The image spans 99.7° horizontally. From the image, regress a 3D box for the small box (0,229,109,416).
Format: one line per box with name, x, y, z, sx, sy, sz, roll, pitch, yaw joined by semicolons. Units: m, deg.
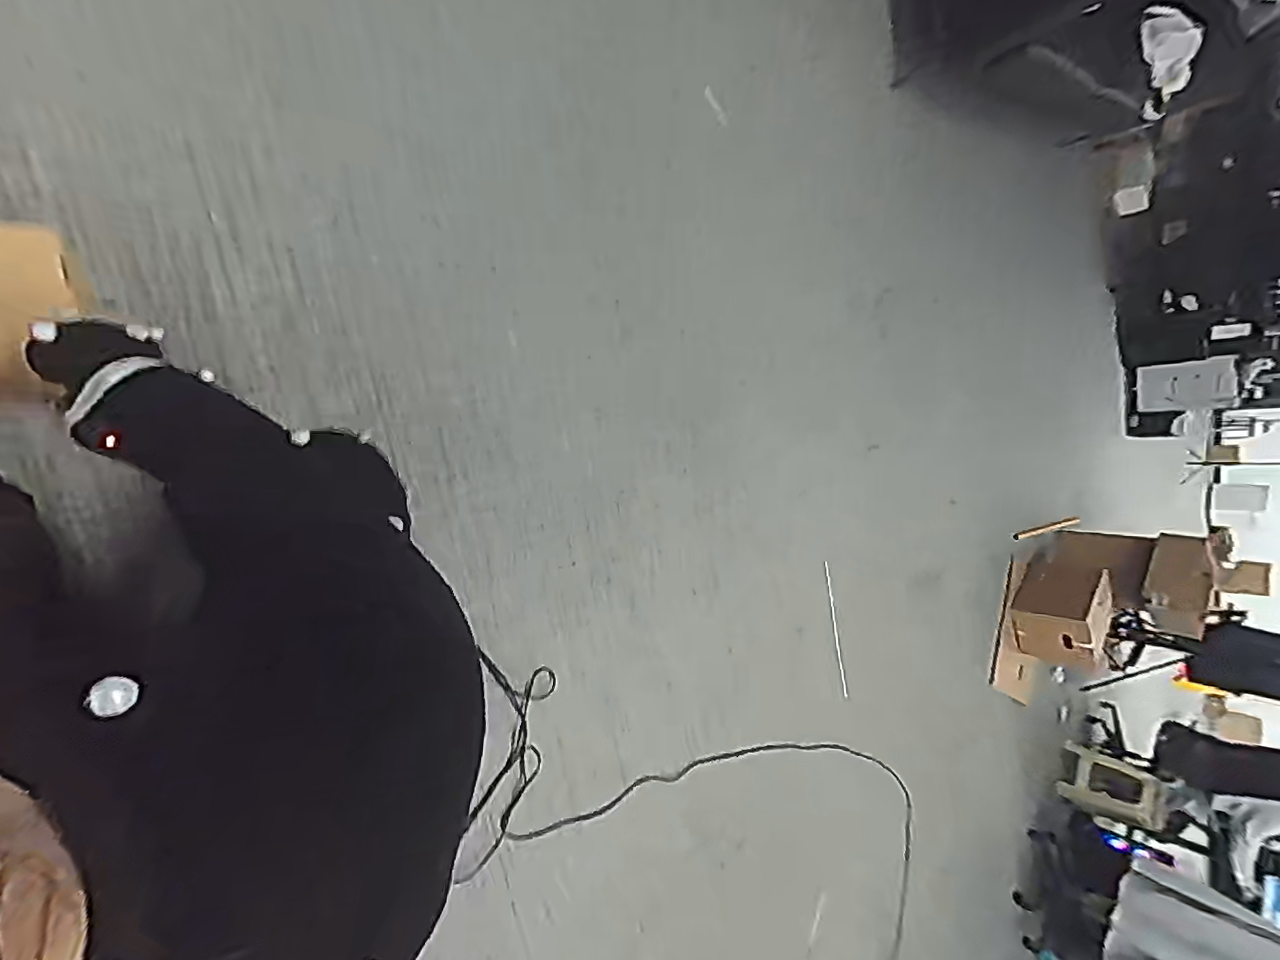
small box;-0.702;-0.156;0.566;0.179;0.176;0.168;-14;99;-39
